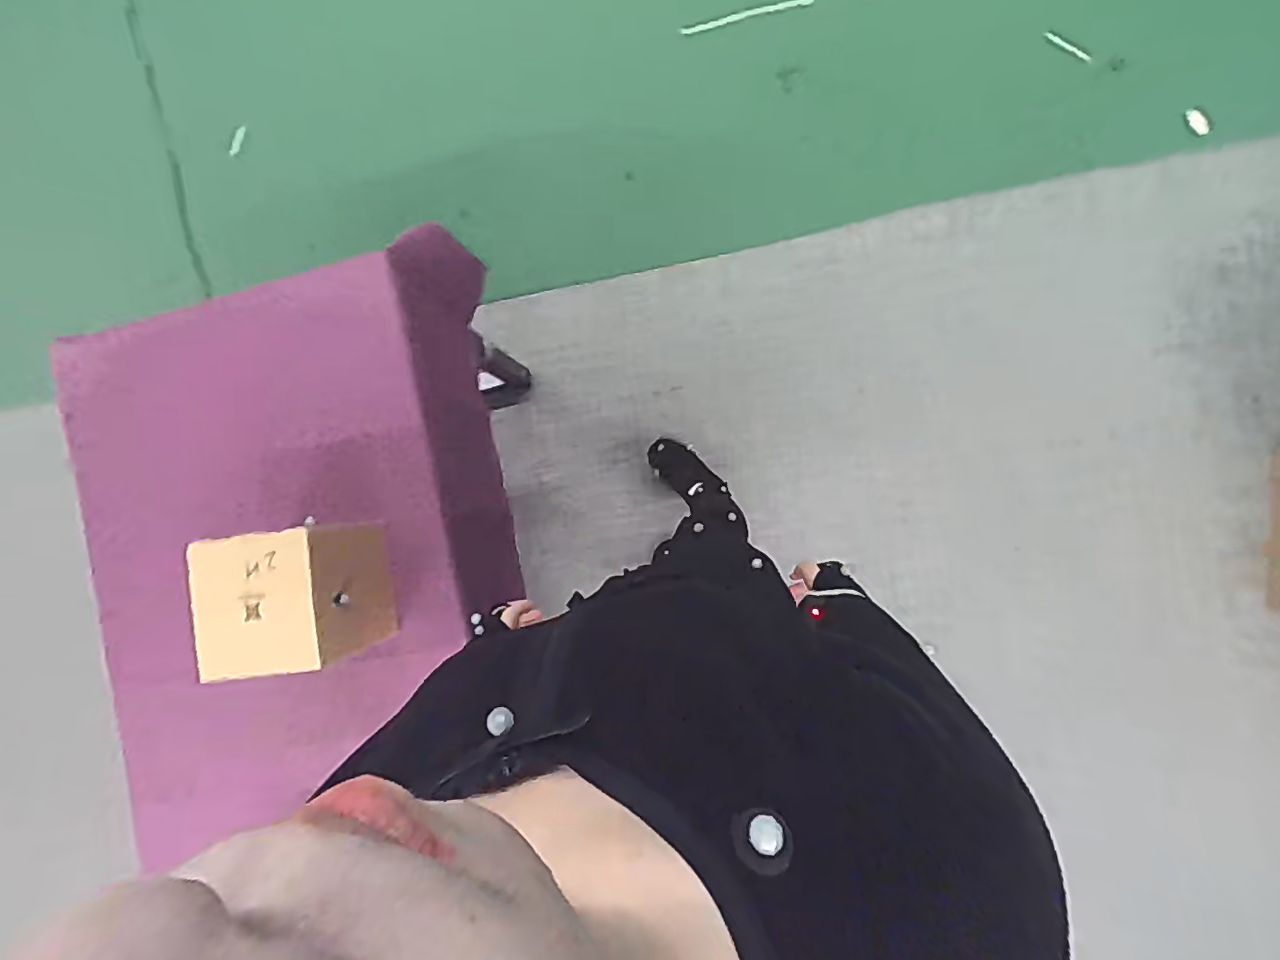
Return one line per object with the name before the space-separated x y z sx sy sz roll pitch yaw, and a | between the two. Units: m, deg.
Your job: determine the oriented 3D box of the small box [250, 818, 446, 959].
small box | -0.382 0.596 0.734 0.168 0.176 0.179 -8 86 8
